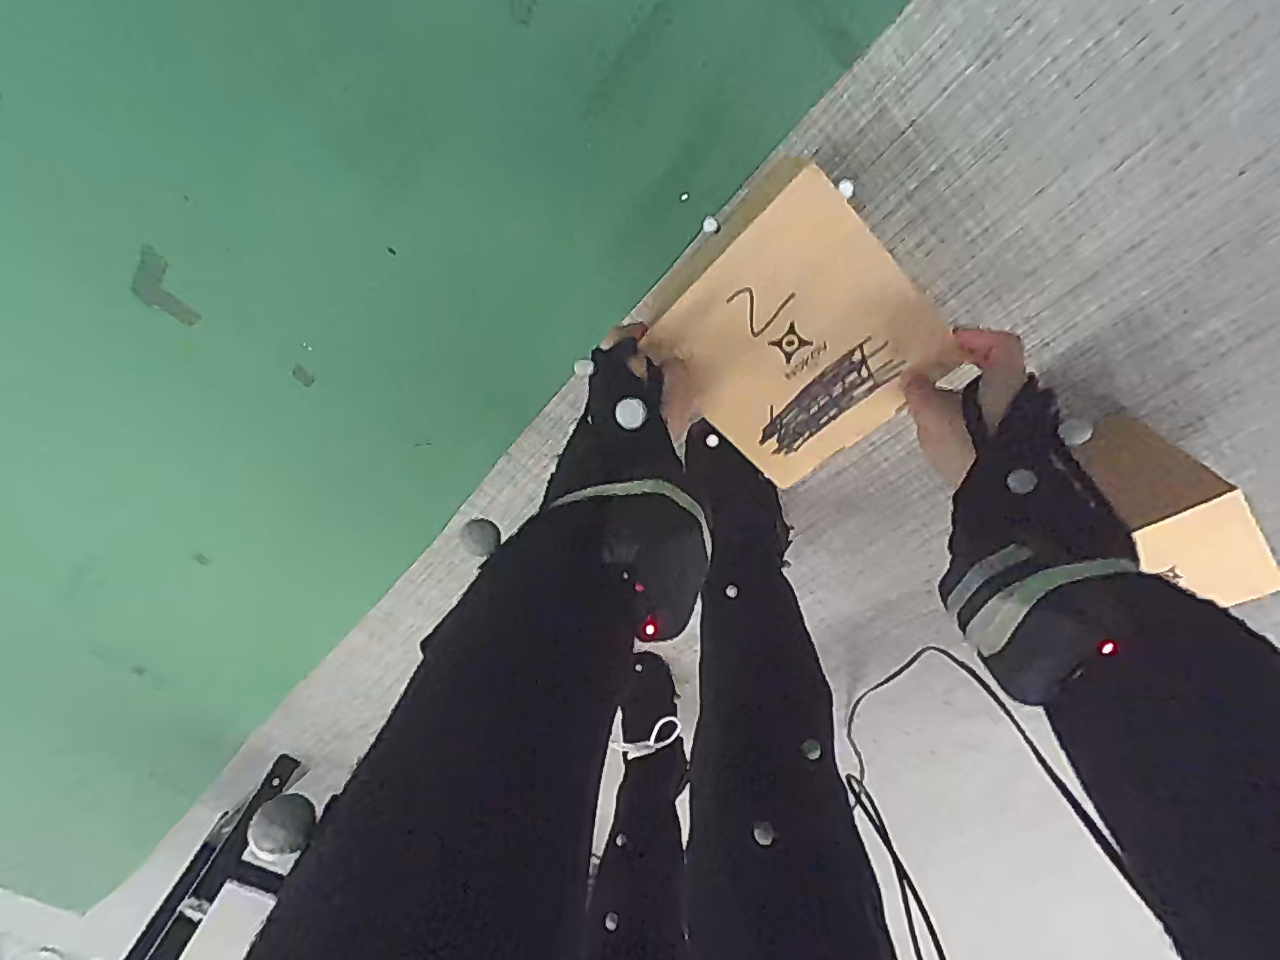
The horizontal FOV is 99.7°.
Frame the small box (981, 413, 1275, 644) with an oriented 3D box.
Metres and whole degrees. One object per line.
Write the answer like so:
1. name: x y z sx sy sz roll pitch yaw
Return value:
1. small box: 0.551 0.053 0.636 0.179 0.176 0.168 -37 113 28
